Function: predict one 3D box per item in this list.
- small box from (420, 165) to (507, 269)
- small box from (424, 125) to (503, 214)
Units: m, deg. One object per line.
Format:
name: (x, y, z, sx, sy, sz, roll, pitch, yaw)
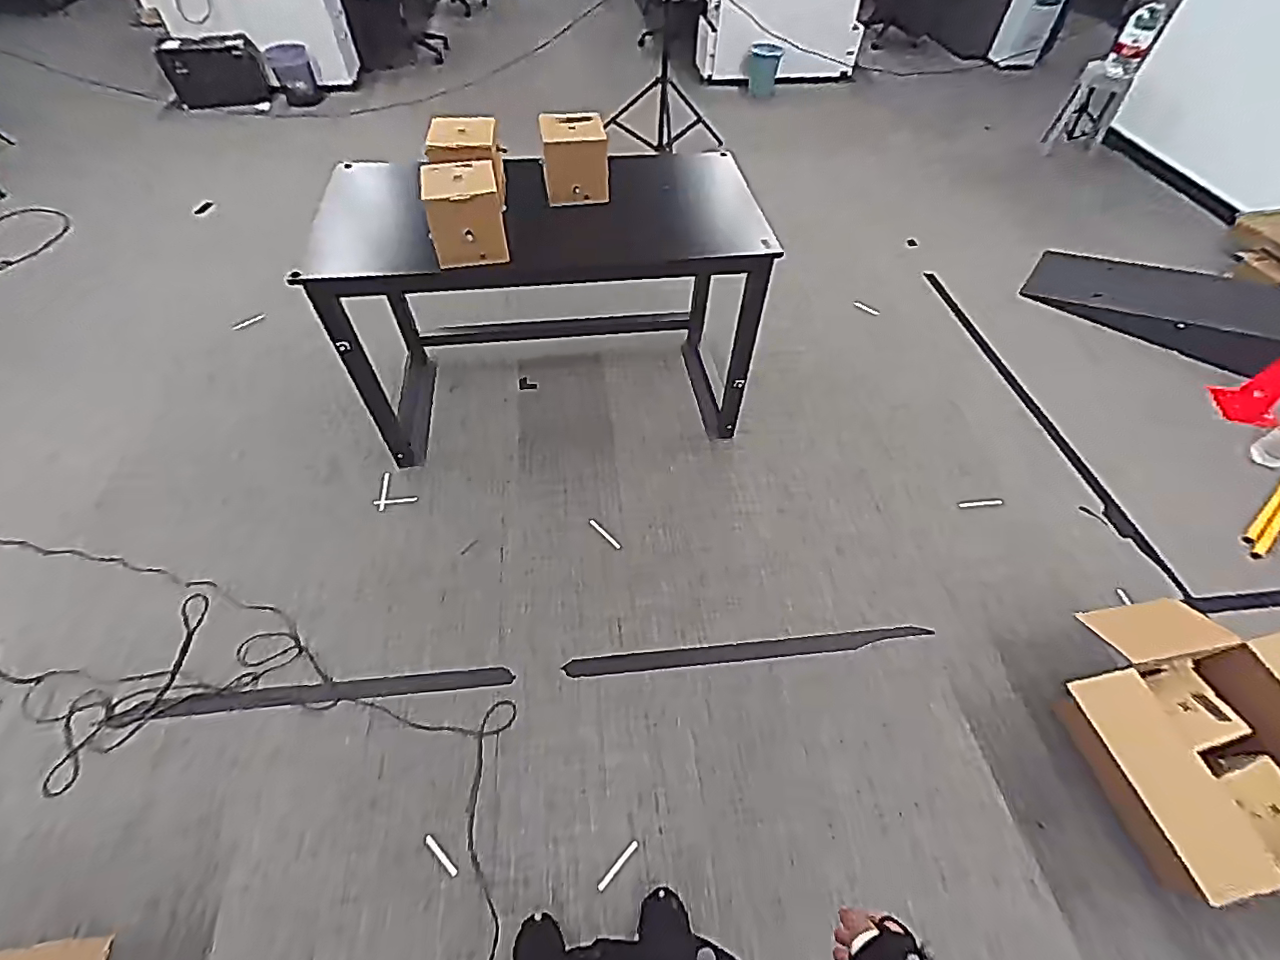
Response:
small box: (-0.425, -0.631, 1.311, 0.168, 0.176, 0.179, -10, 54, -9)
small box: (-0.472, -0.843, 1.474, 0.168, 0.176, 0.179, -5, 53, -5)
